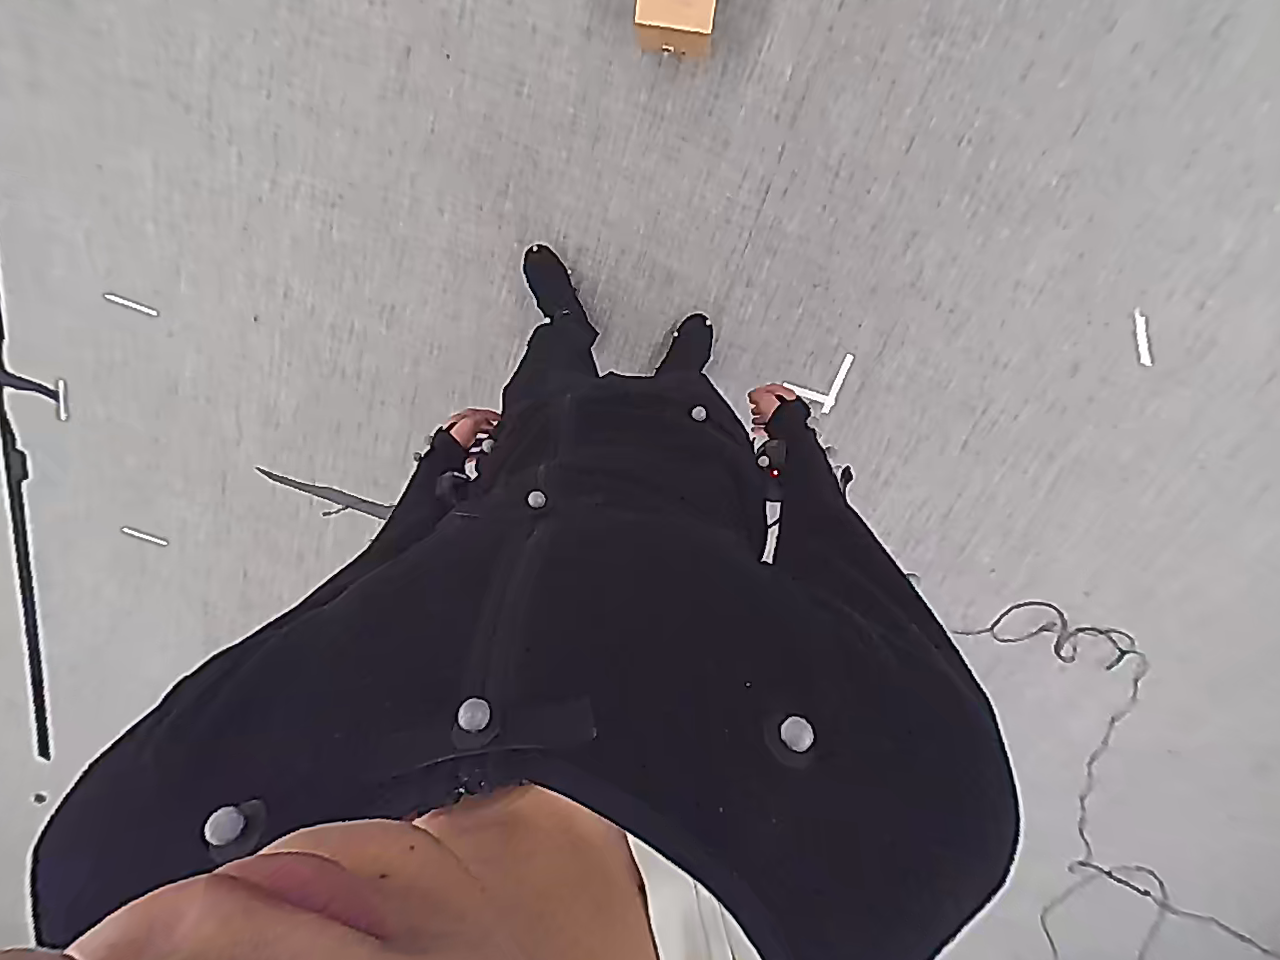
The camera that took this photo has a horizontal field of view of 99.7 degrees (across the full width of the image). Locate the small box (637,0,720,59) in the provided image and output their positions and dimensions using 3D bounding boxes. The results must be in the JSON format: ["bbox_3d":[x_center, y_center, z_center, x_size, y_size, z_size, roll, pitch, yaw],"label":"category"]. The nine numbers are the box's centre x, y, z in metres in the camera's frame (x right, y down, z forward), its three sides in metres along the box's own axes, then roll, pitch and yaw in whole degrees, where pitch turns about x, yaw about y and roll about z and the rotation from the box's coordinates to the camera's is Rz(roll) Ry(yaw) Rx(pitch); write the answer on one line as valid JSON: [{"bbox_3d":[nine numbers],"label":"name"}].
[{"bbox_3d":[0.091,-1.057,1.168,0.168,0.176,0.179,10,112,1],"label":"small box"}]
